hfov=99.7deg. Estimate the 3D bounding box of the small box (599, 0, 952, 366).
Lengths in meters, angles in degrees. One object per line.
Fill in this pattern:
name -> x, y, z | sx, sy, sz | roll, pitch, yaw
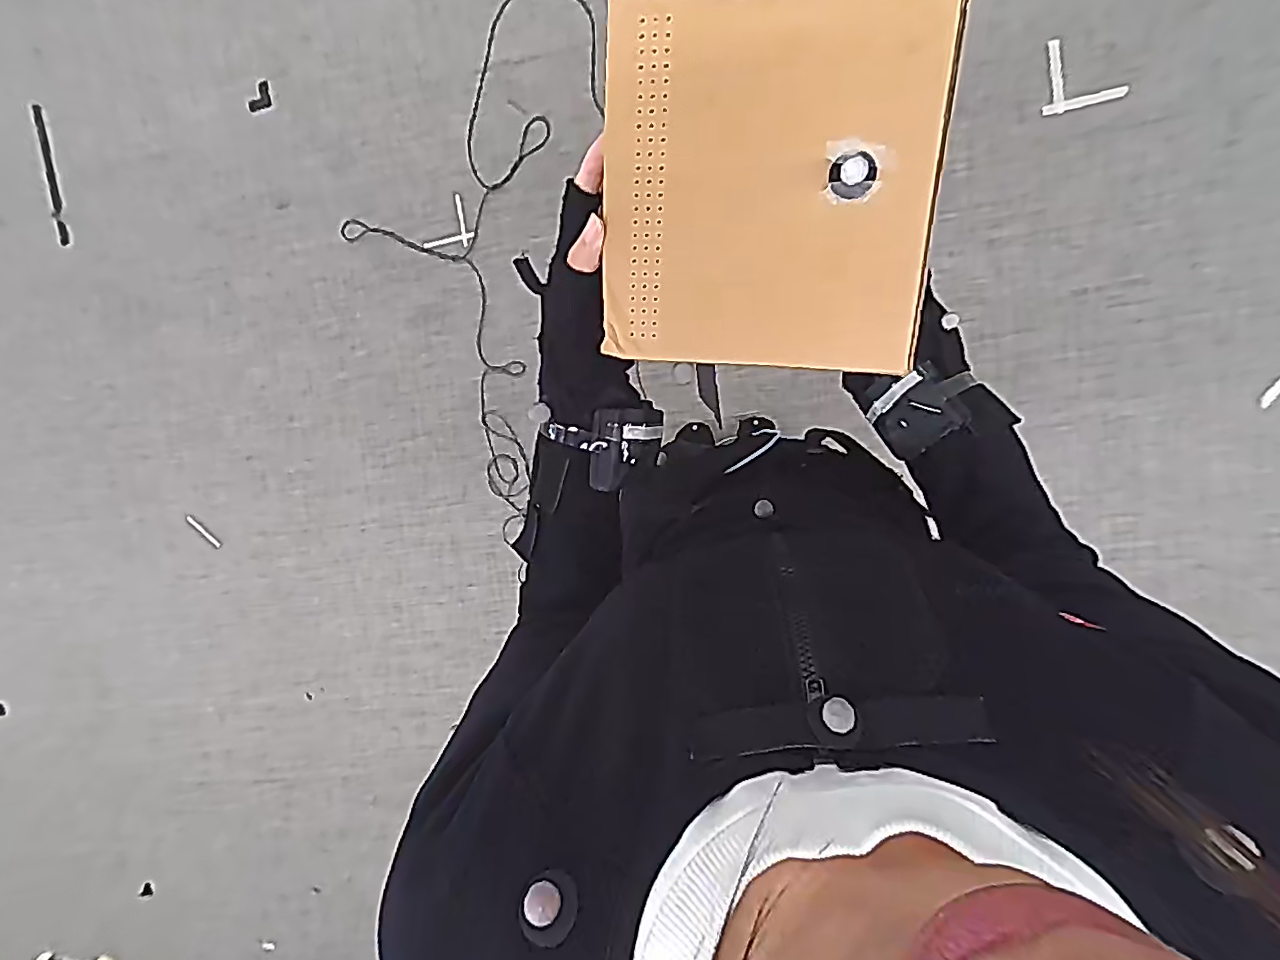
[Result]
small box -> 0.075, -0.169, 0.355 | 0.176, 0.168, 0.179 | 6, 105, 13
